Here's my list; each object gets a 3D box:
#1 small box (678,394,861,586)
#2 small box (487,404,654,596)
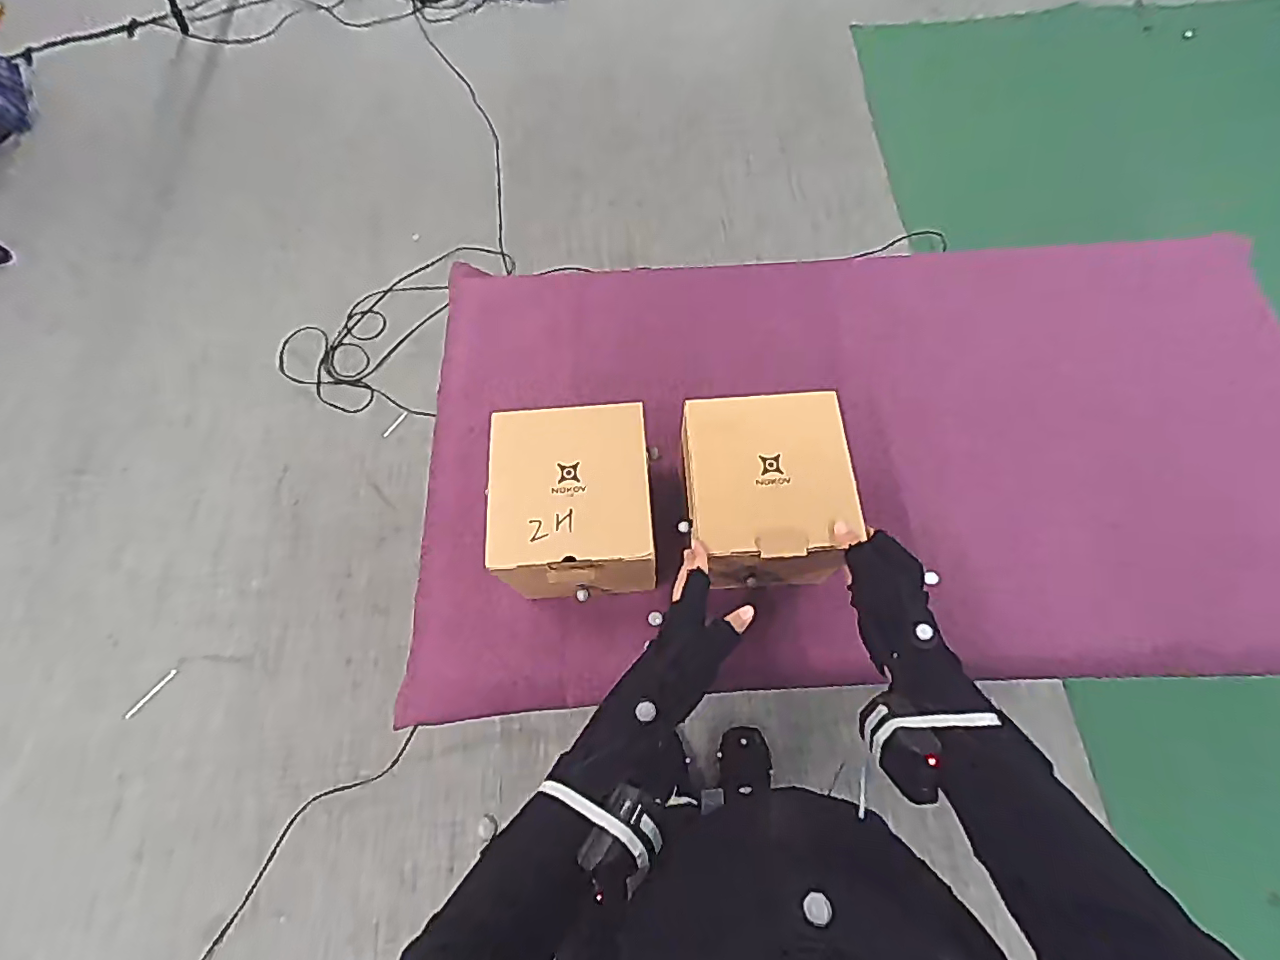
[{"bbox_3d":[0.134,0.019,0.635,0.168,0.176,0.179,-3,69,1],"label":"small box"},{"bbox_3d":[-0.072,0.030,0.636,0.168,0.176,0.179,-4,68,1],"label":"small box"}]
